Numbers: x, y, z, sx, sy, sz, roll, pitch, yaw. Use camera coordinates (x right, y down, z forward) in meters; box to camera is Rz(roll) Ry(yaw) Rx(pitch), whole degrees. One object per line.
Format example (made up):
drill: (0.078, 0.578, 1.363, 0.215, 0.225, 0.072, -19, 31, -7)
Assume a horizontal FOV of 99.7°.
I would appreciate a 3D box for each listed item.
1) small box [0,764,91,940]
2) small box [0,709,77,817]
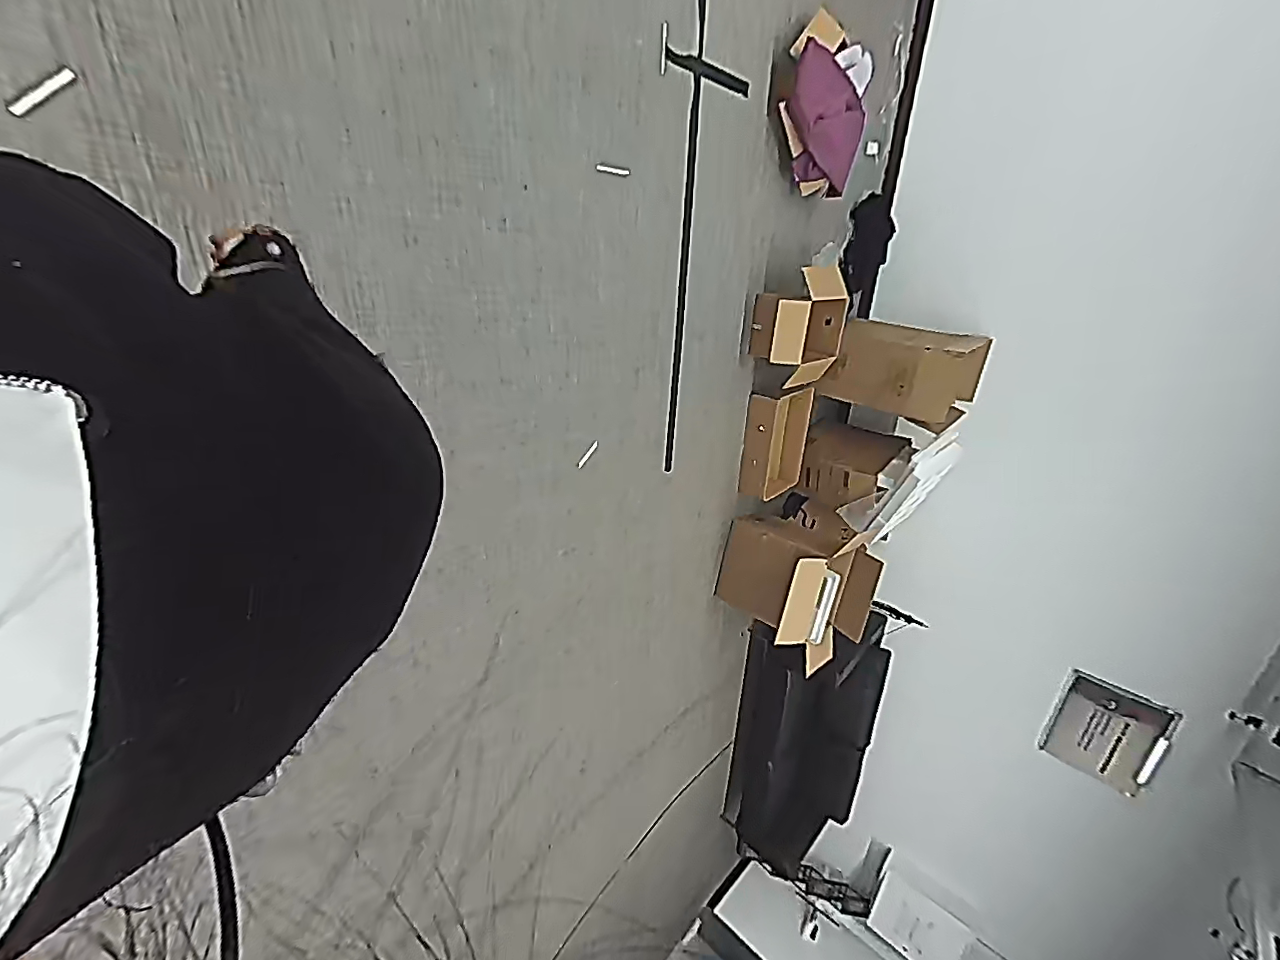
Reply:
small box: (-1.013, 0.592, 0.843, 0.179, 0.176, 0.168, -20, 123, -45)
small box: (-1.129, 0.527, 0.937, 0.179, 0.176, 0.168, -21, 123, -44)
